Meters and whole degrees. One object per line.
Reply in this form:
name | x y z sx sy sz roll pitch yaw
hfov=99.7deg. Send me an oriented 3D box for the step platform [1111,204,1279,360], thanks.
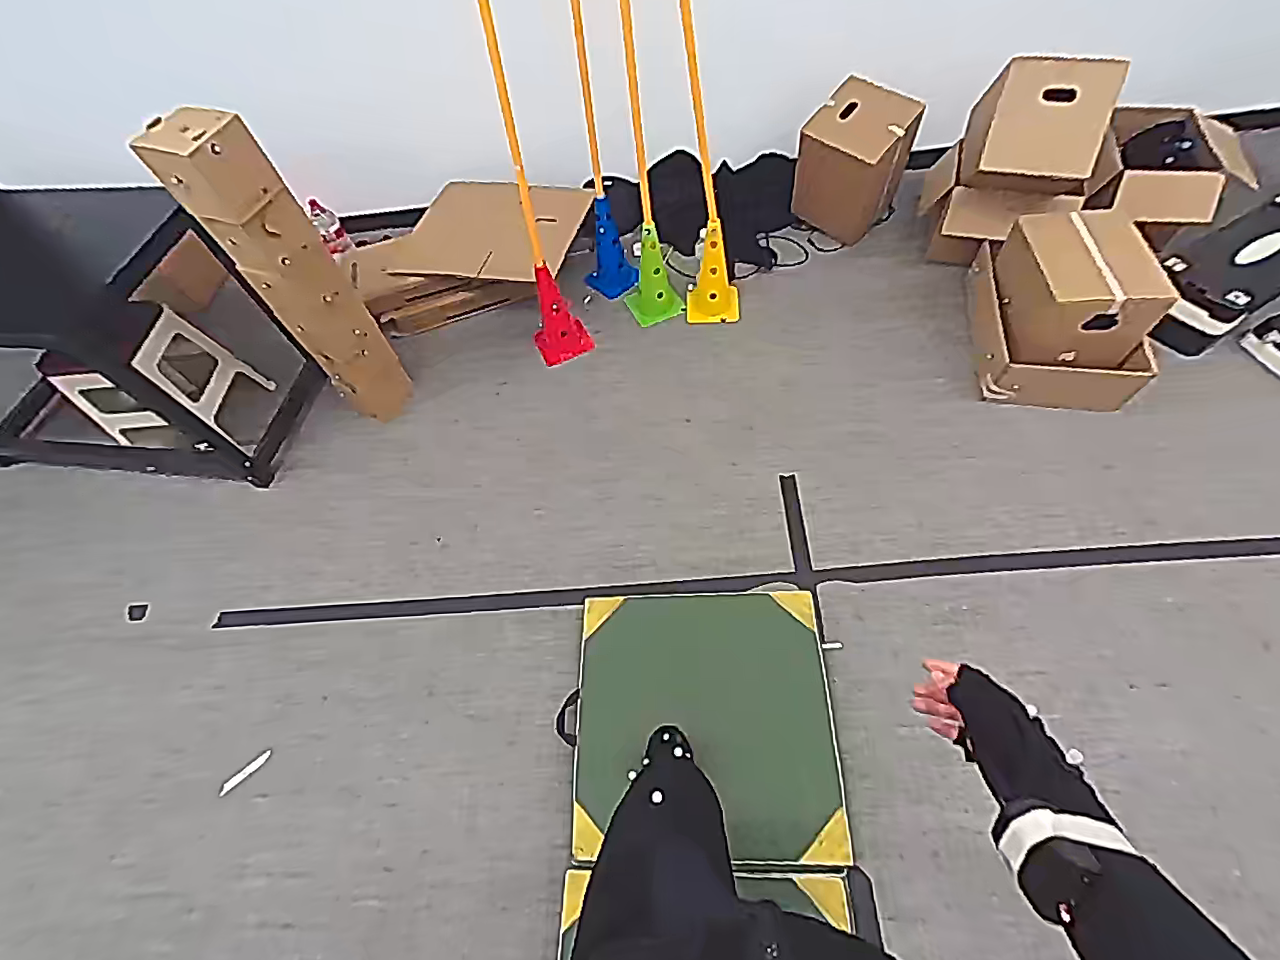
step platform | 1.999 -0.681 1.836 0.684 0.204 0.286 -29 60 -10
